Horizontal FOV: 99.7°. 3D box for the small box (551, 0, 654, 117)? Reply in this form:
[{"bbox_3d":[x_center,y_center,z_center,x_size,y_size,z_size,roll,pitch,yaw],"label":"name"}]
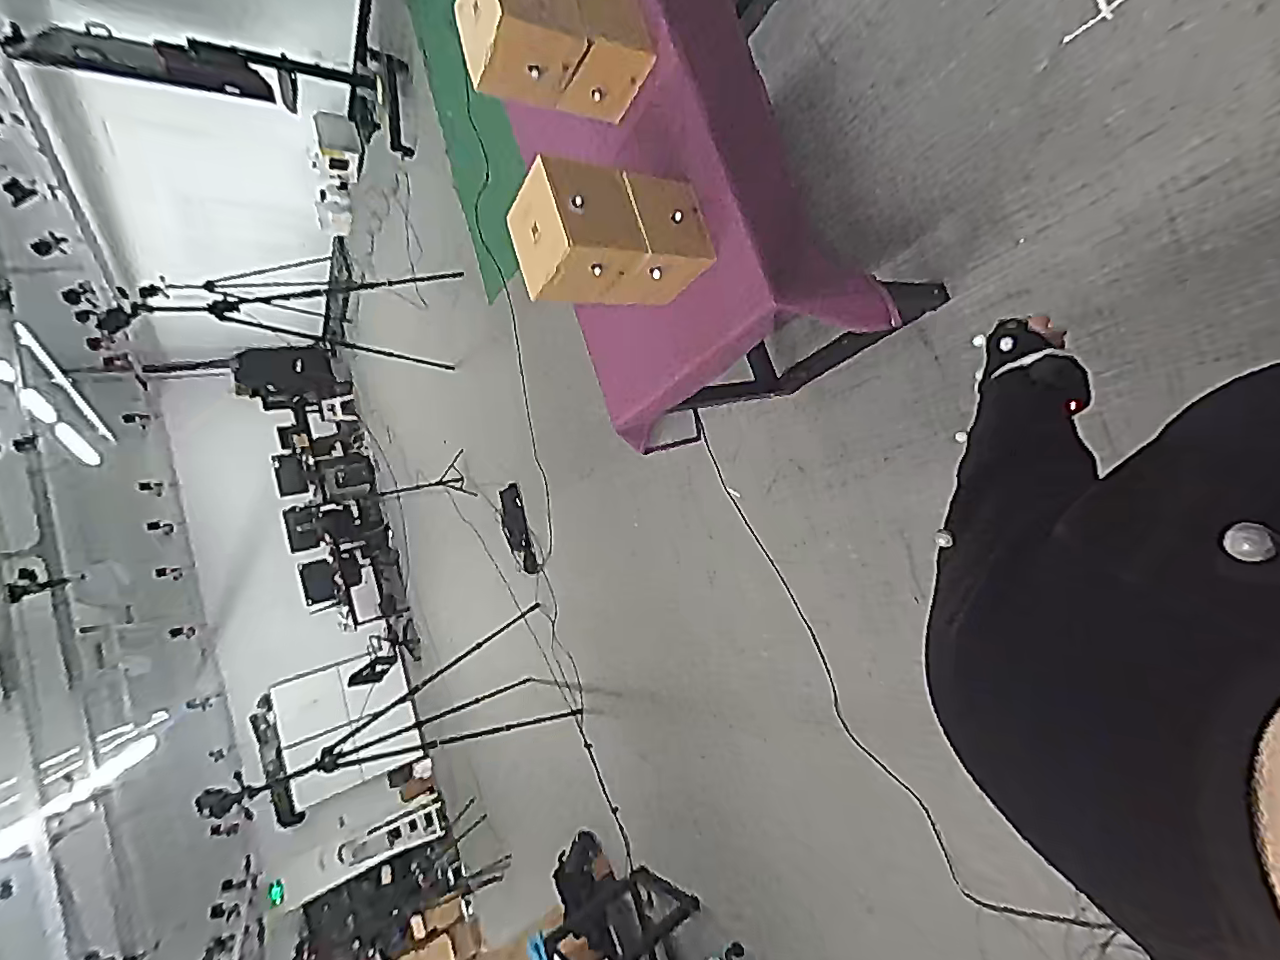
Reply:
[{"bbox_3d":[-0.095,-0.882,1.107,0.168,0.176,0.179,-28,78,54],"label":"small box"}]

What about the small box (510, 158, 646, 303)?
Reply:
[{"bbox_3d":[-0.112,-0.445,0.988,0.168,0.176,0.179,-27,78,53],"label":"small box"}]

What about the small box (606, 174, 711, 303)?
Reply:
[{"bbox_3d":[0.021,-0.472,1.080,0.179,0.176,0.168,-25,80,55],"label":"small box"}]

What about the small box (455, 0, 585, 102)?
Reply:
[{"bbox_3d":[-0.223,-0.845,1.009,0.168,0.176,0.179,-20,85,55],"label":"small box"}]
